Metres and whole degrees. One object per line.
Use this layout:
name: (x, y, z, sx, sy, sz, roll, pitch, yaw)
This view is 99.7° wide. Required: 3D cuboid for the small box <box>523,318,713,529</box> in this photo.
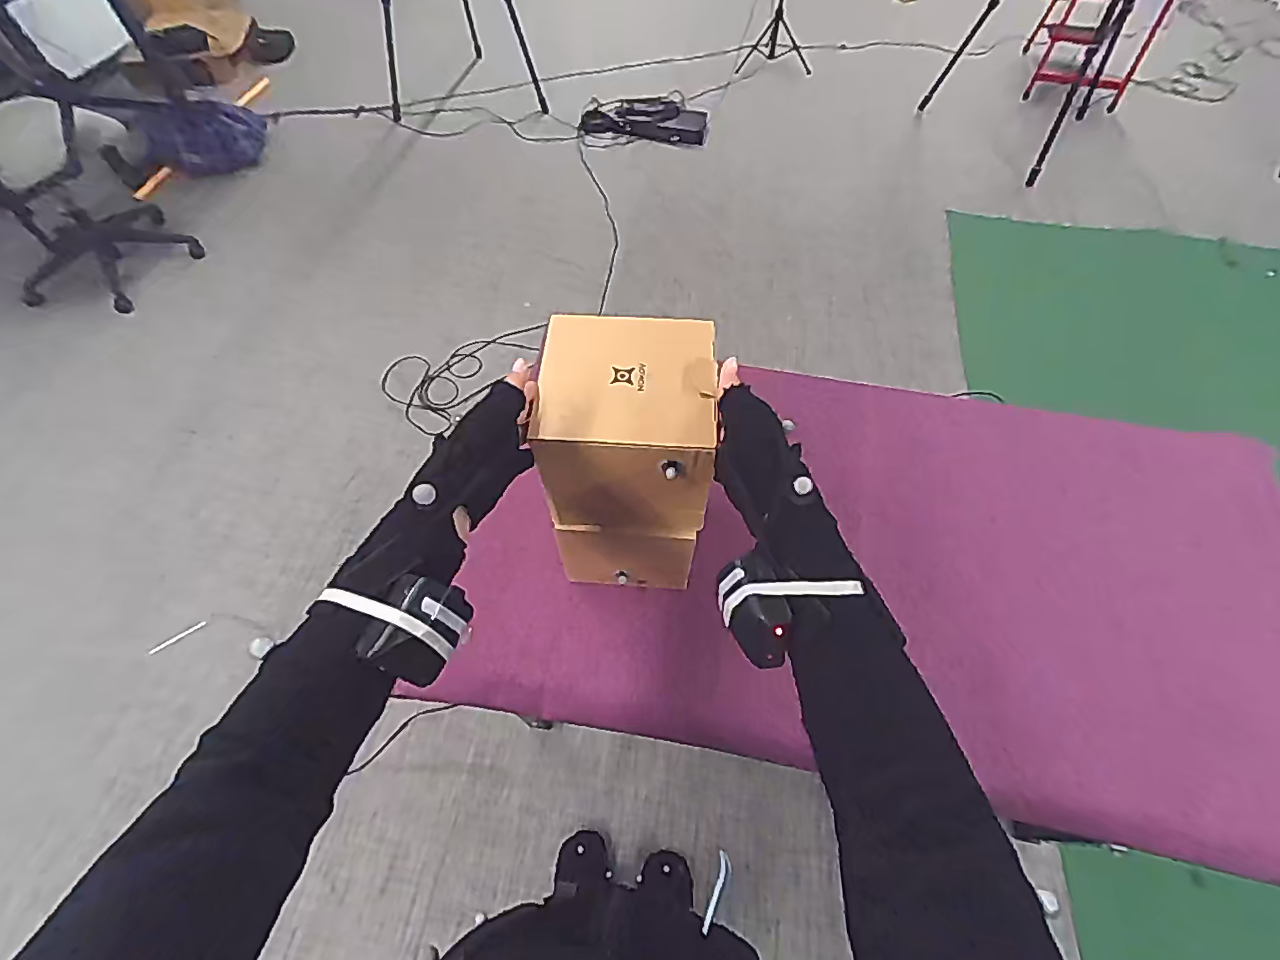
small box: (-0.015, -0.056, 0.596, 0.179, 0.176, 0.168, 3, 58, 2)
